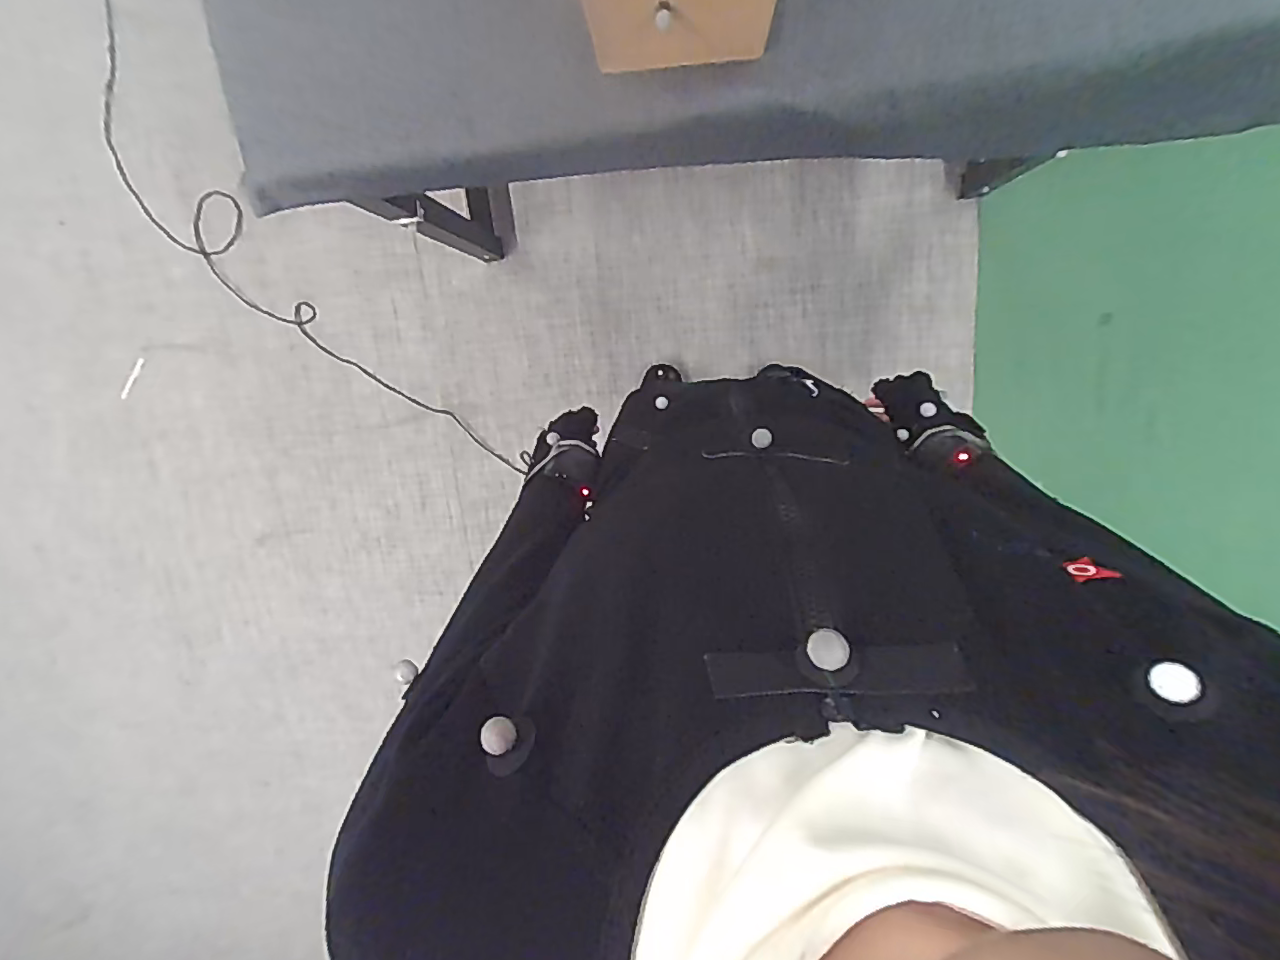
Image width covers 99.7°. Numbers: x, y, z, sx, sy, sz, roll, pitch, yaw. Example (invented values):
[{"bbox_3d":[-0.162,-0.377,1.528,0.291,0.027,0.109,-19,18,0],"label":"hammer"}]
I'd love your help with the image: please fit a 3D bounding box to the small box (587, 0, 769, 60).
[{"bbox_3d":[0.033,-0.516,0.488,0.179,0.176,0.168,-1,103,5],"label":"small box"}]
